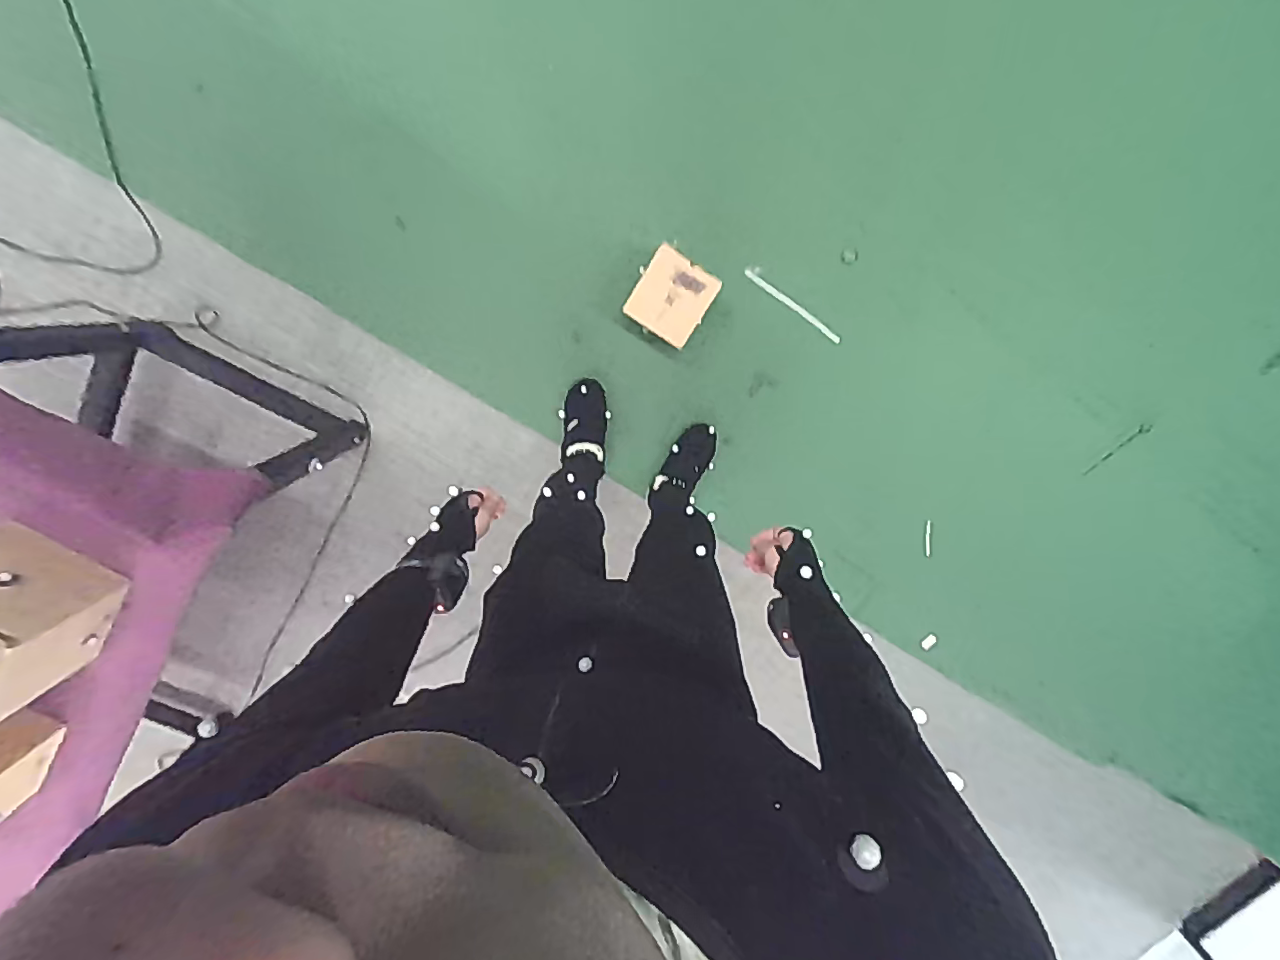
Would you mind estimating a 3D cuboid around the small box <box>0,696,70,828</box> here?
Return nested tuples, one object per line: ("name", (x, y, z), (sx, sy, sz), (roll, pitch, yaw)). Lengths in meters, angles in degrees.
("small box", (-1.030, 0.447, 0.805), (0.179, 0.176, 0.168), (33, 105, -10))

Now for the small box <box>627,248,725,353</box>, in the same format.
("small box", (0.078, -0.431, 1.310), (0.168, 0.176, 0.179), (31, 105, -10))

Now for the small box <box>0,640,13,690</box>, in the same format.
("small box", (-0.849, 0.238, 0.564), (0.179, 0.176, 0.168), (32, 106, -11))
